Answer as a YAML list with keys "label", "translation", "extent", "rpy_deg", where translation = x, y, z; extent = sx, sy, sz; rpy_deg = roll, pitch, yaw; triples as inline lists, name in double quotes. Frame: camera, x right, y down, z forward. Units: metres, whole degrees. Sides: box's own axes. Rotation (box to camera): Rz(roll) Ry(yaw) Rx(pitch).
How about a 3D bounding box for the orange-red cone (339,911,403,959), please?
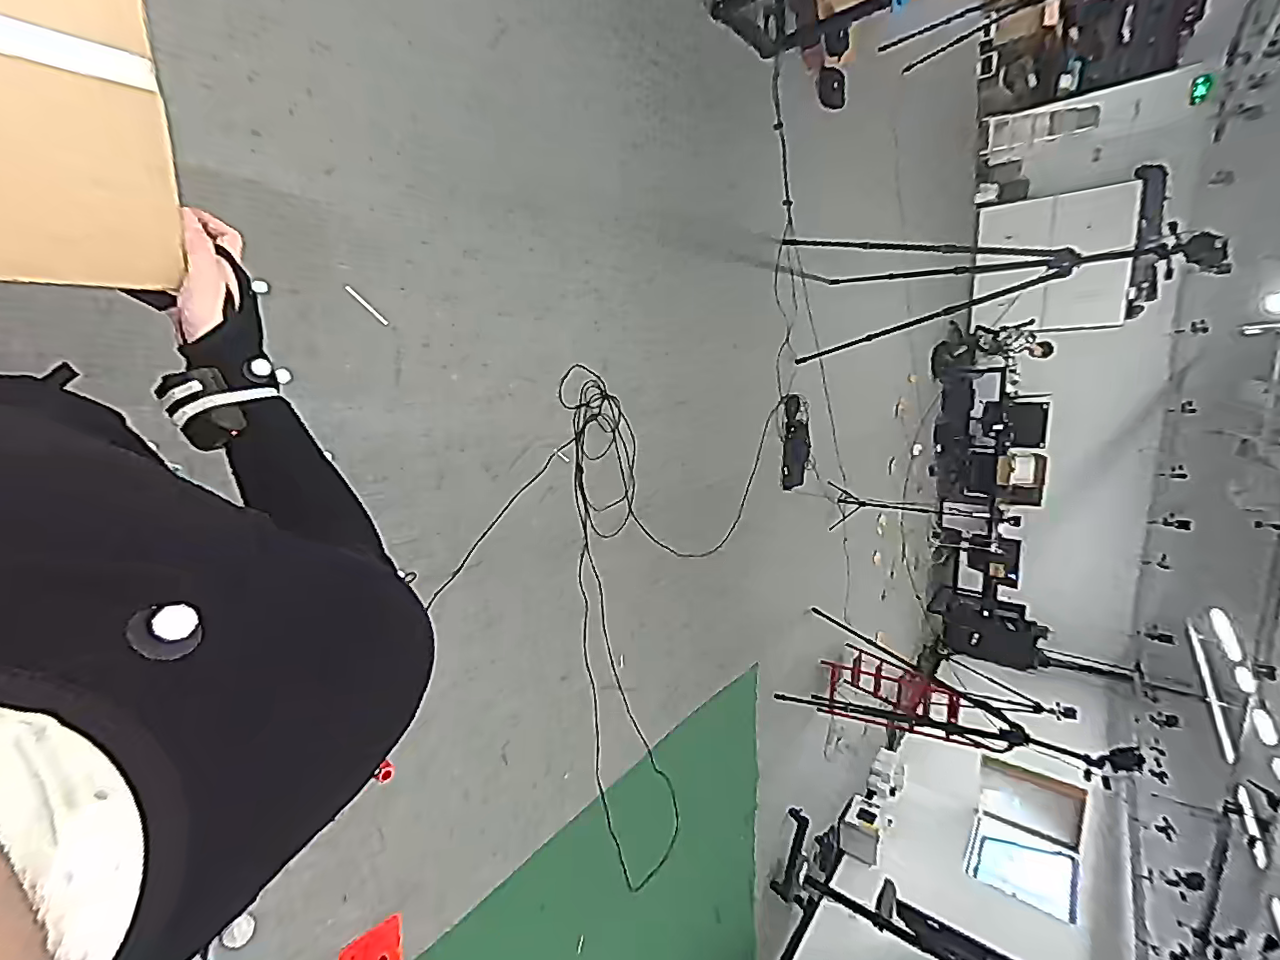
- label: "orange-red cone"
  translation: [-0.750, 1.567, 1.663]
  extent: [0.199, 0.360, 0.198]
  rpy_deg: [-5, 100, -52]
